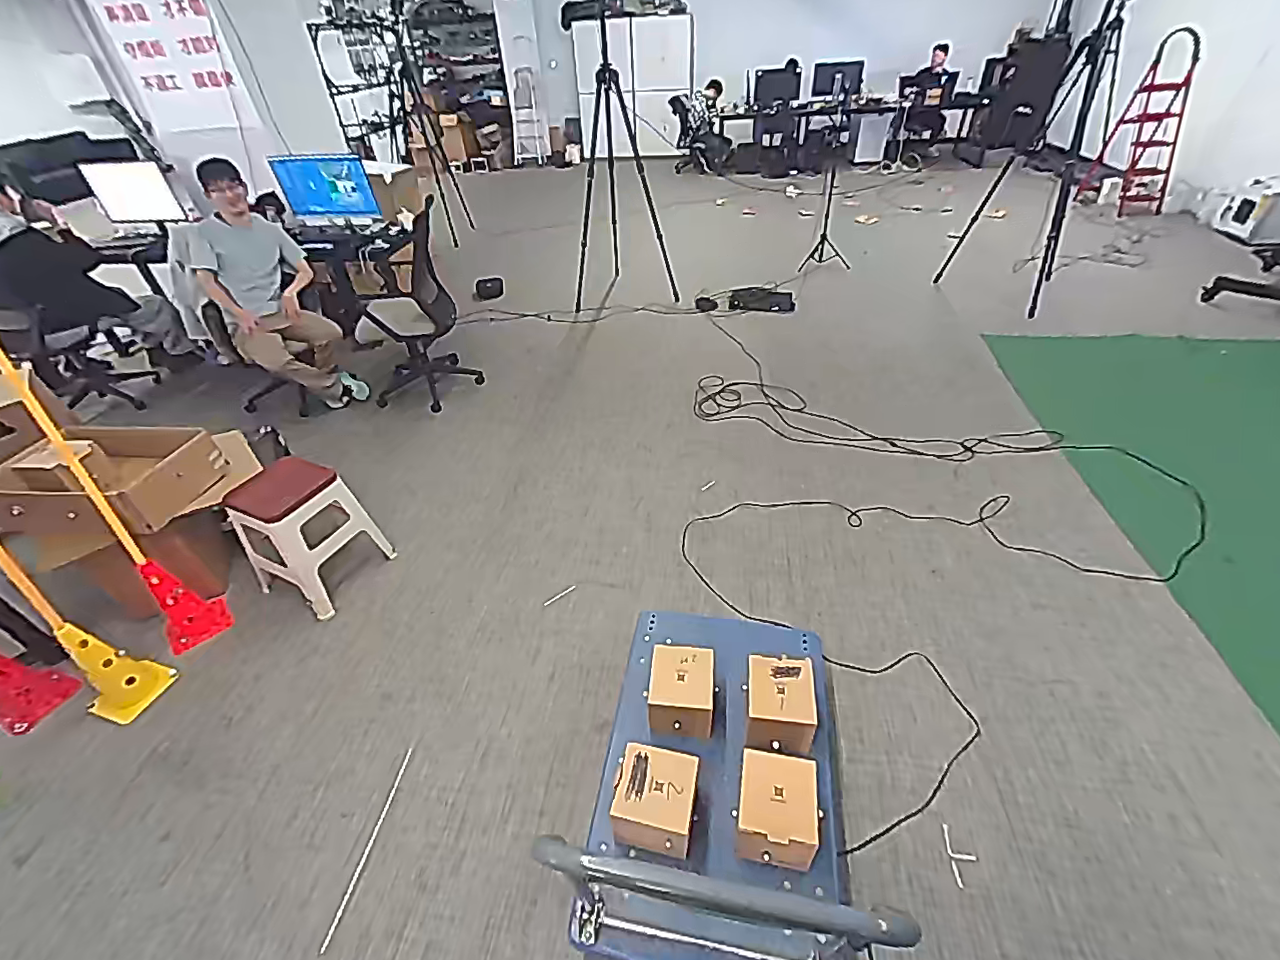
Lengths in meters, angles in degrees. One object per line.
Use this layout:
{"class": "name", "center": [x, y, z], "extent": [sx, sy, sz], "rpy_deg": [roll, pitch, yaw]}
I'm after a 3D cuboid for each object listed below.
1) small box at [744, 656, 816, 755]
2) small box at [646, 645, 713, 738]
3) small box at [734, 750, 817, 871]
{"class": "small box", "center": [0.364, 0.595, 1.429], "extent": [0.168, 0.176, 0.179], "rpy_deg": [4, 42, 10]}
{"class": "small box", "center": [0.112, 0.576, 1.470], "extent": [0.168, 0.176, 0.179], "rpy_deg": [3, 41, 7]}
{"class": "small box", "center": [0.308, 0.758, 1.242], "extent": [0.168, 0.176, 0.179], "rpy_deg": [6, 42, 11]}
